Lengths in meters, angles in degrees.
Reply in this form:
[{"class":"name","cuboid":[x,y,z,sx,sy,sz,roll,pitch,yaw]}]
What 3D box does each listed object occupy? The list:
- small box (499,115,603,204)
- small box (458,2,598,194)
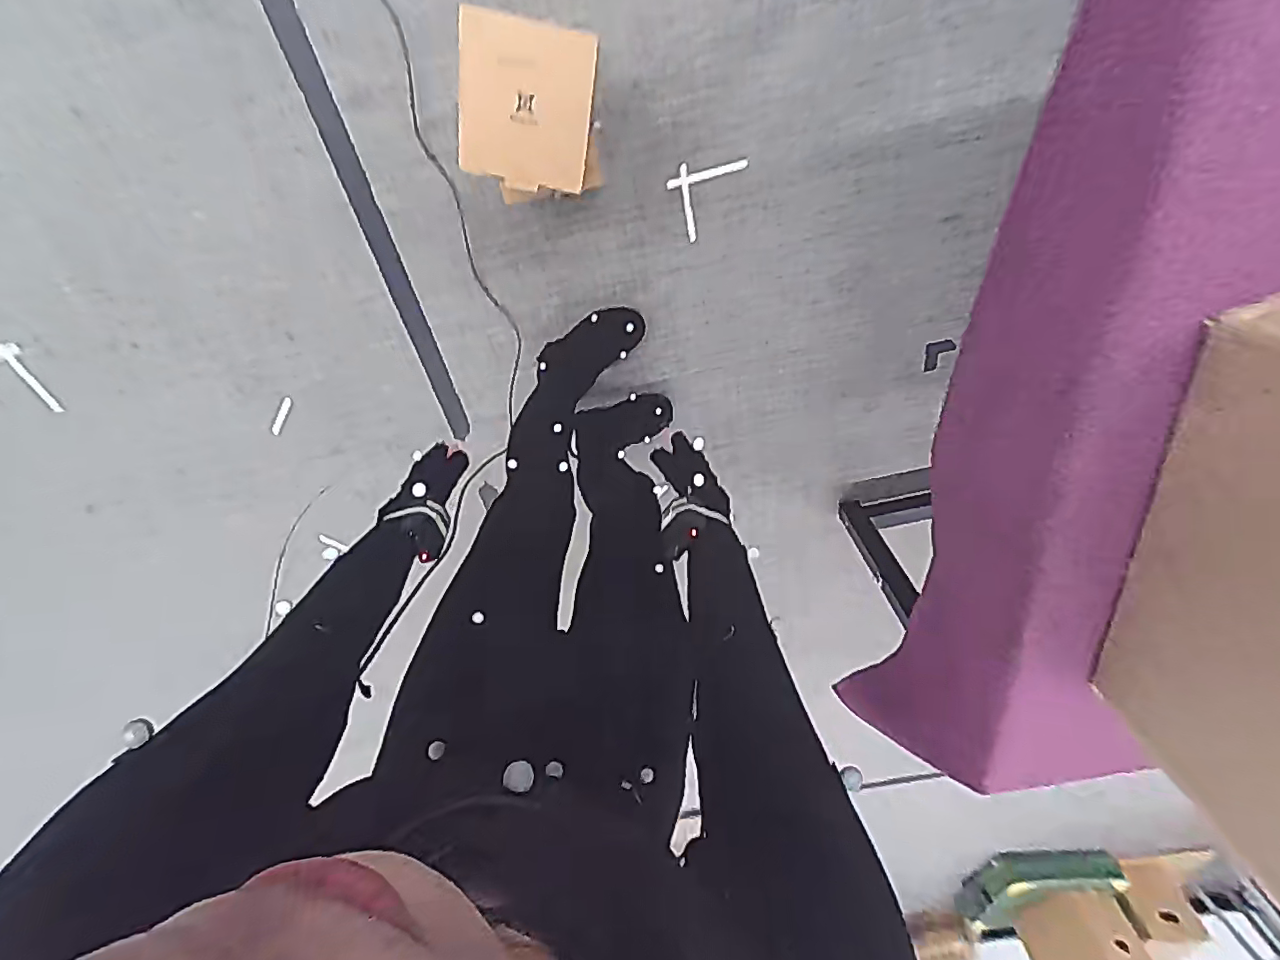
[{"class":"small box","cuboid":[-0.158,-0.576,0.897,0.168,0.176,0.179,-10,124,3]},{"class":"small box","cuboid":[-0.149,-0.512,0.744,0.168,0.176,0.179,6,122,-8]}]
